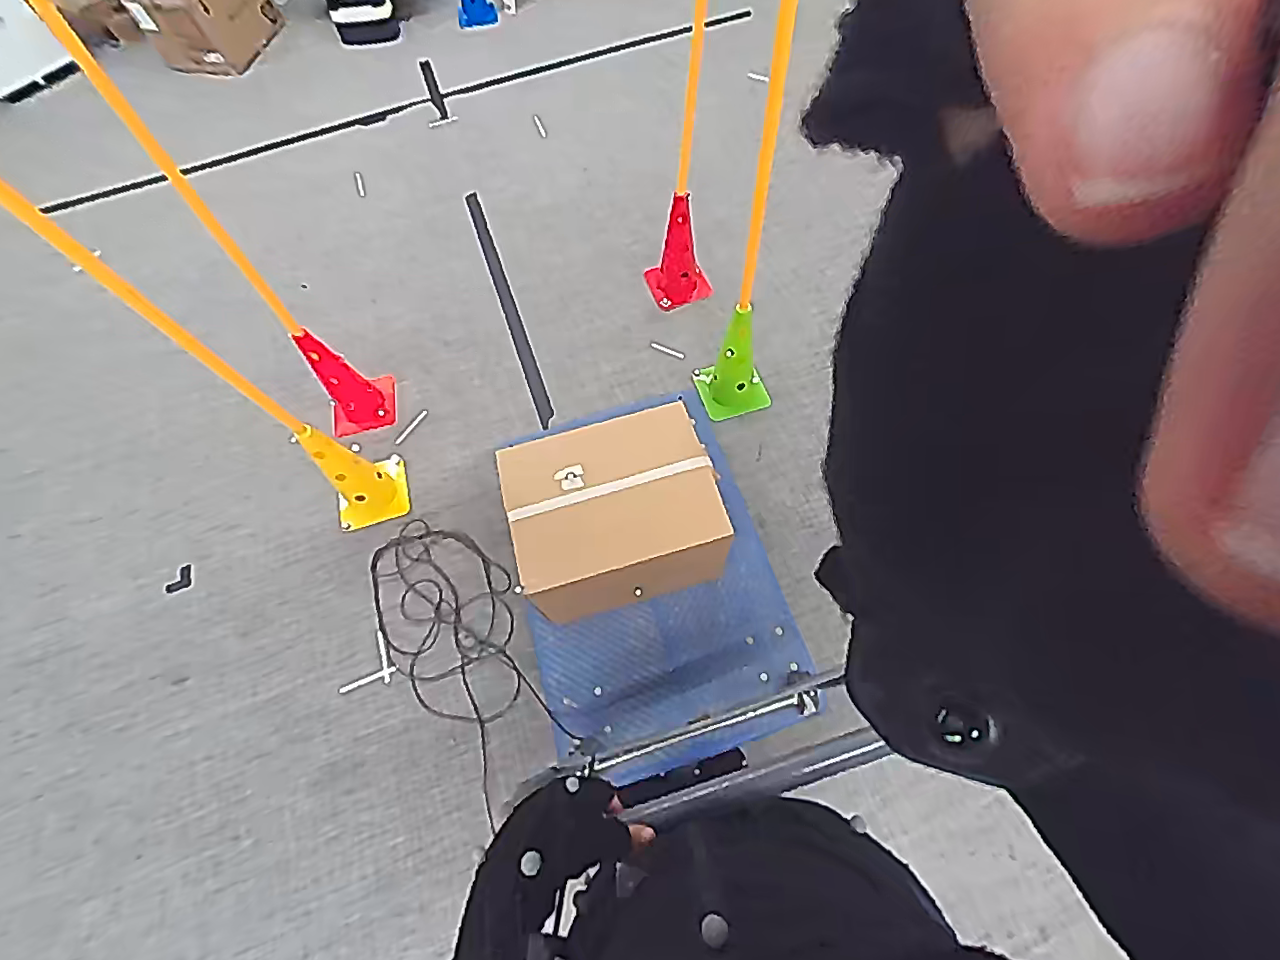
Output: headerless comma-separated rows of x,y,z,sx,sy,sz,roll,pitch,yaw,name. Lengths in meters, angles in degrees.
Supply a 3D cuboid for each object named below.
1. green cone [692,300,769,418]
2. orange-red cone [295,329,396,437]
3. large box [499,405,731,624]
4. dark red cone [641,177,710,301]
0.278,-0.368,1.557,0.202,0.368,0.200,-16,64,-6,green cone
-0.899,-0.313,1.602,0.198,0.360,0.199,-13,63,-4,orange-red cone
-0.049,0.090,1.193,0.408,0.320,0.320,-16,64,-3,large box
0.121,-0.786,1.750,0.201,0.394,0.202,-20,65,-8,dark red cone
